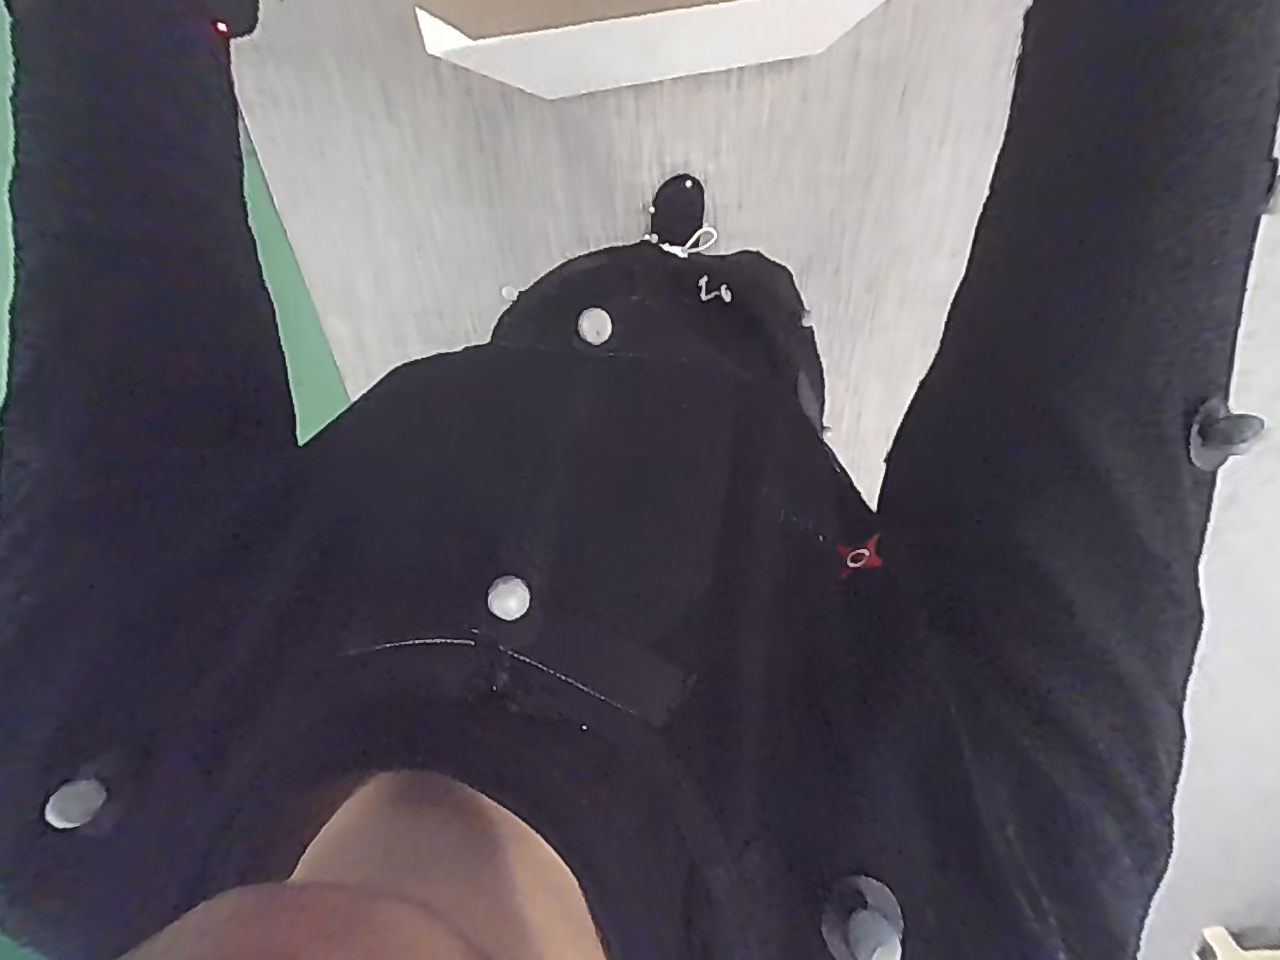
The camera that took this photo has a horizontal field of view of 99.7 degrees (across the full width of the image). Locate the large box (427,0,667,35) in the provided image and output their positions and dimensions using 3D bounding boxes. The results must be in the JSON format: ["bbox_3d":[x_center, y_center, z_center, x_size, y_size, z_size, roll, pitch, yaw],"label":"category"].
[{"bbox_3d":[-0.003,-0.526,0.328,0.408,0.320,0.320,-4,121,6],"label":"large box"}]
